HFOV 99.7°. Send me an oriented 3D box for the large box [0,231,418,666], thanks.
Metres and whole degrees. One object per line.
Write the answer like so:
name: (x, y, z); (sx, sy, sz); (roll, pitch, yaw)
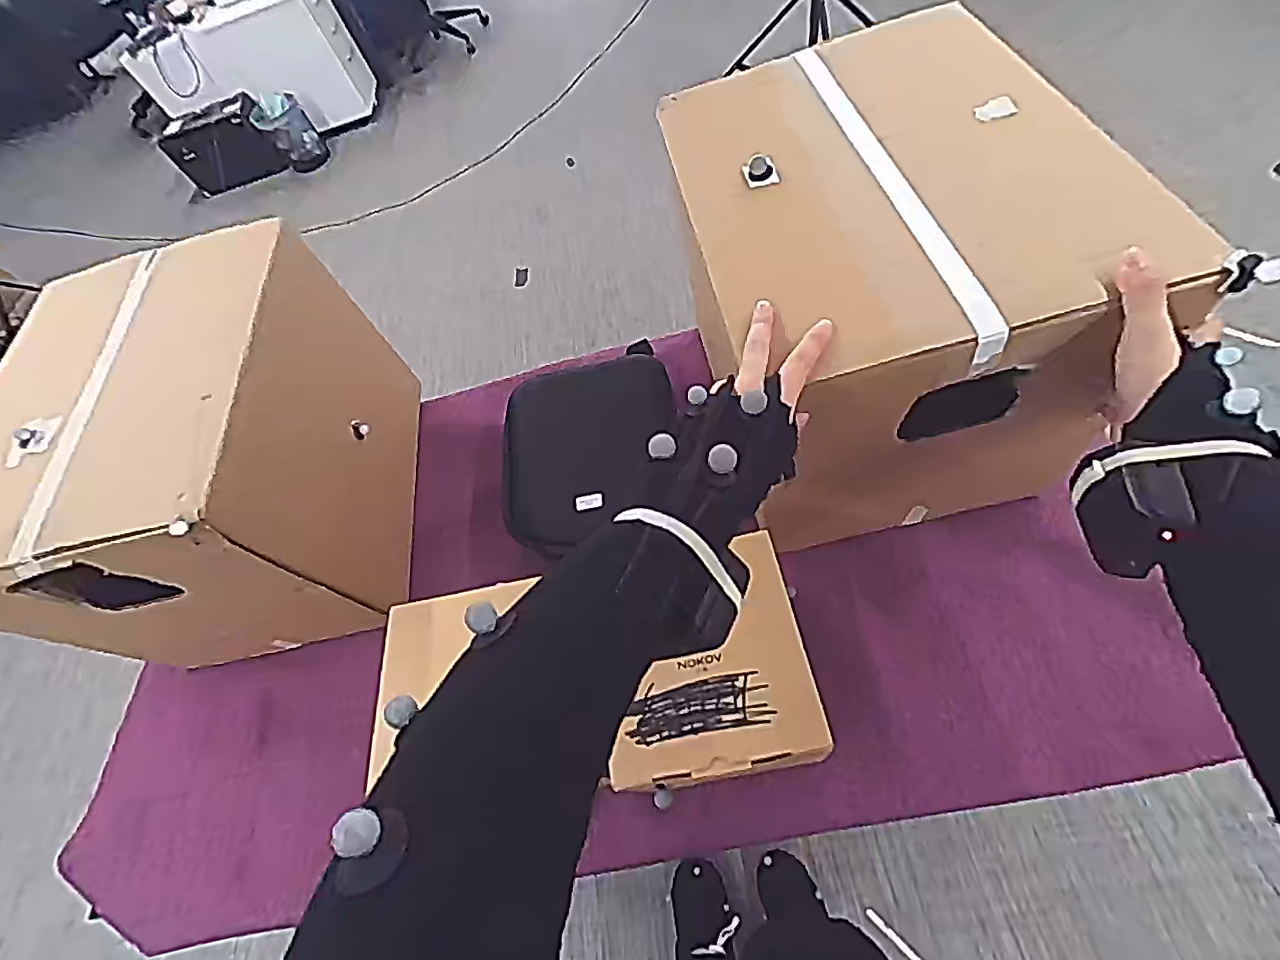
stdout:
large box: (-0.499, -0.023, 0.676); (0.320, 0.320, 0.408); (-14, 61, 4)
